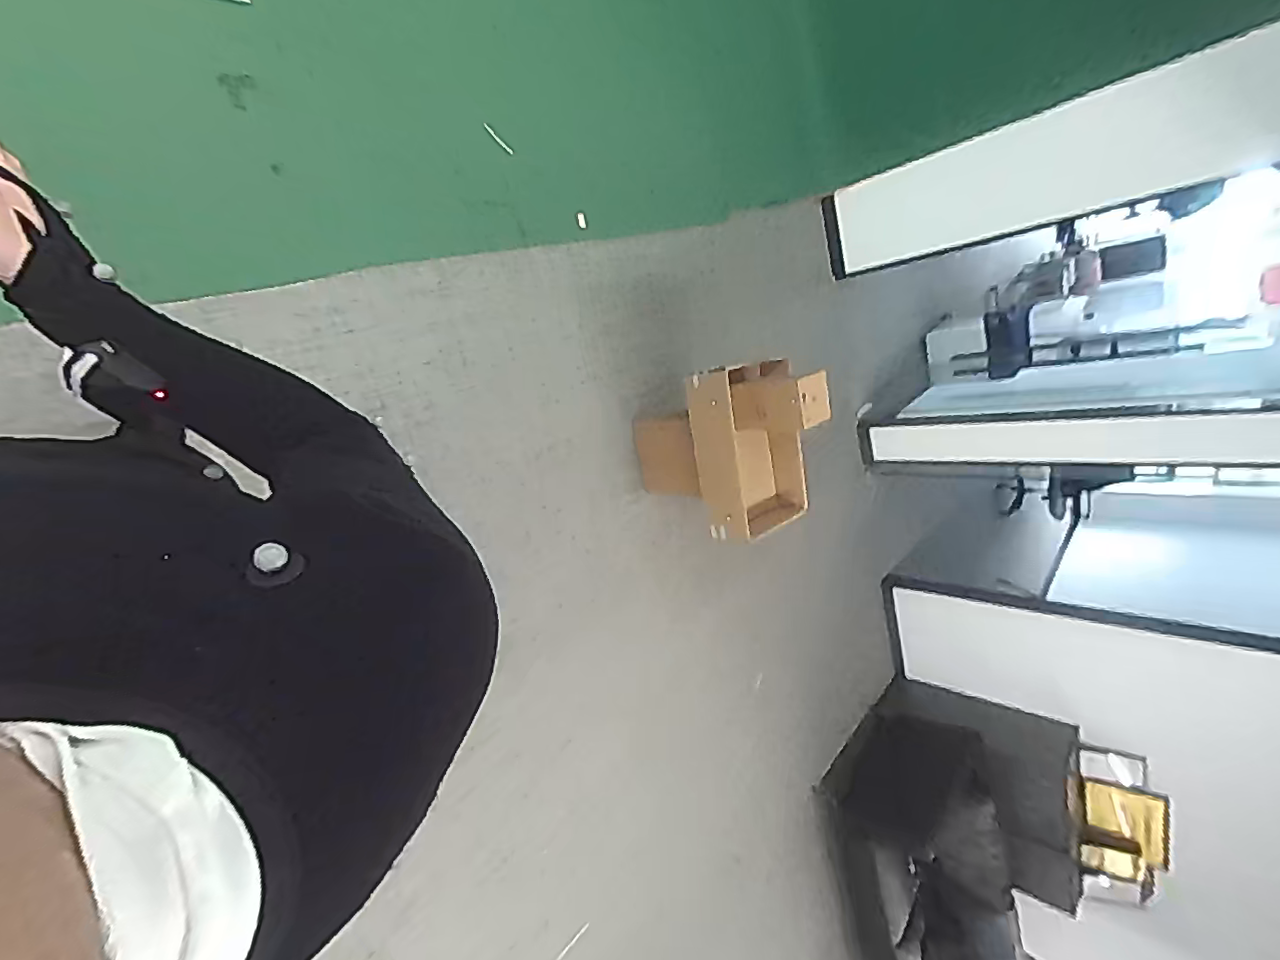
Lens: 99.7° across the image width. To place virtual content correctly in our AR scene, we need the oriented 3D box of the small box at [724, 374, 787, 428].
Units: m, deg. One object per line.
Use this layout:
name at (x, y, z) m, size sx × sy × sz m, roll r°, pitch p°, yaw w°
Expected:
small box at (0.417, -0.282, 1.938) m, size 0.179 × 0.176 × 0.168 m, roll -20°, pitch 107°, yaw -40°

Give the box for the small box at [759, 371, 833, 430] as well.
small box at (0.524, -0.267, 1.814) m, size 0.179 × 0.176 × 0.168 m, roll -22°, pitch 107°, yaw -38°
